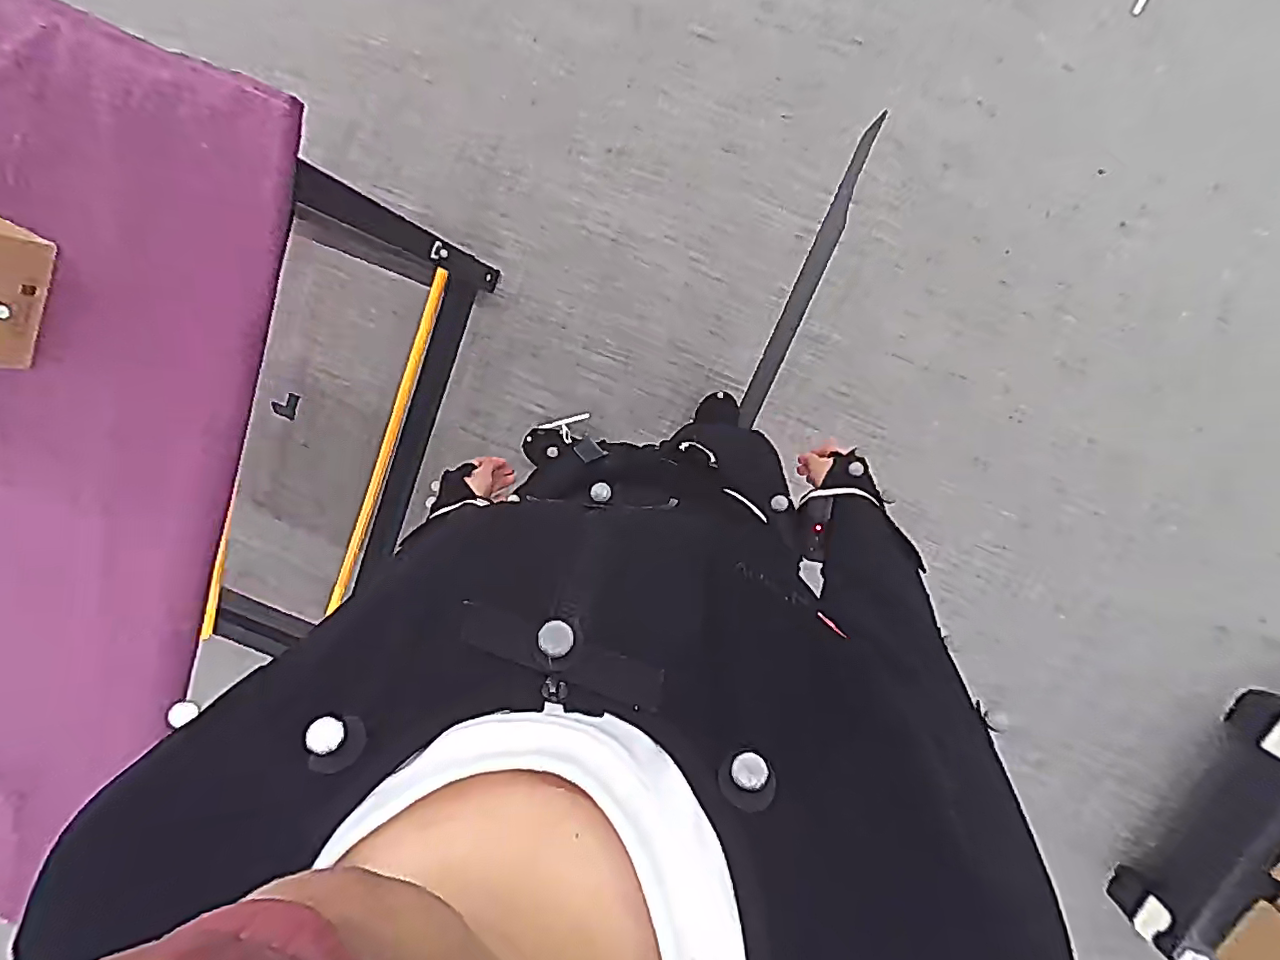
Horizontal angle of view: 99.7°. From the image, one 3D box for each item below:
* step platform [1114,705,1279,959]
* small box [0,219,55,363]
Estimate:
[{"bbox_3d":[1.489,0.901,1.282,0.286,0.204,0.684,22,100,1],"label":"step platform"},{"bbox_3d":[-0.825,-0.236,0.590,0.179,0.176,0.168,26,101,0],"label":"small box"}]
